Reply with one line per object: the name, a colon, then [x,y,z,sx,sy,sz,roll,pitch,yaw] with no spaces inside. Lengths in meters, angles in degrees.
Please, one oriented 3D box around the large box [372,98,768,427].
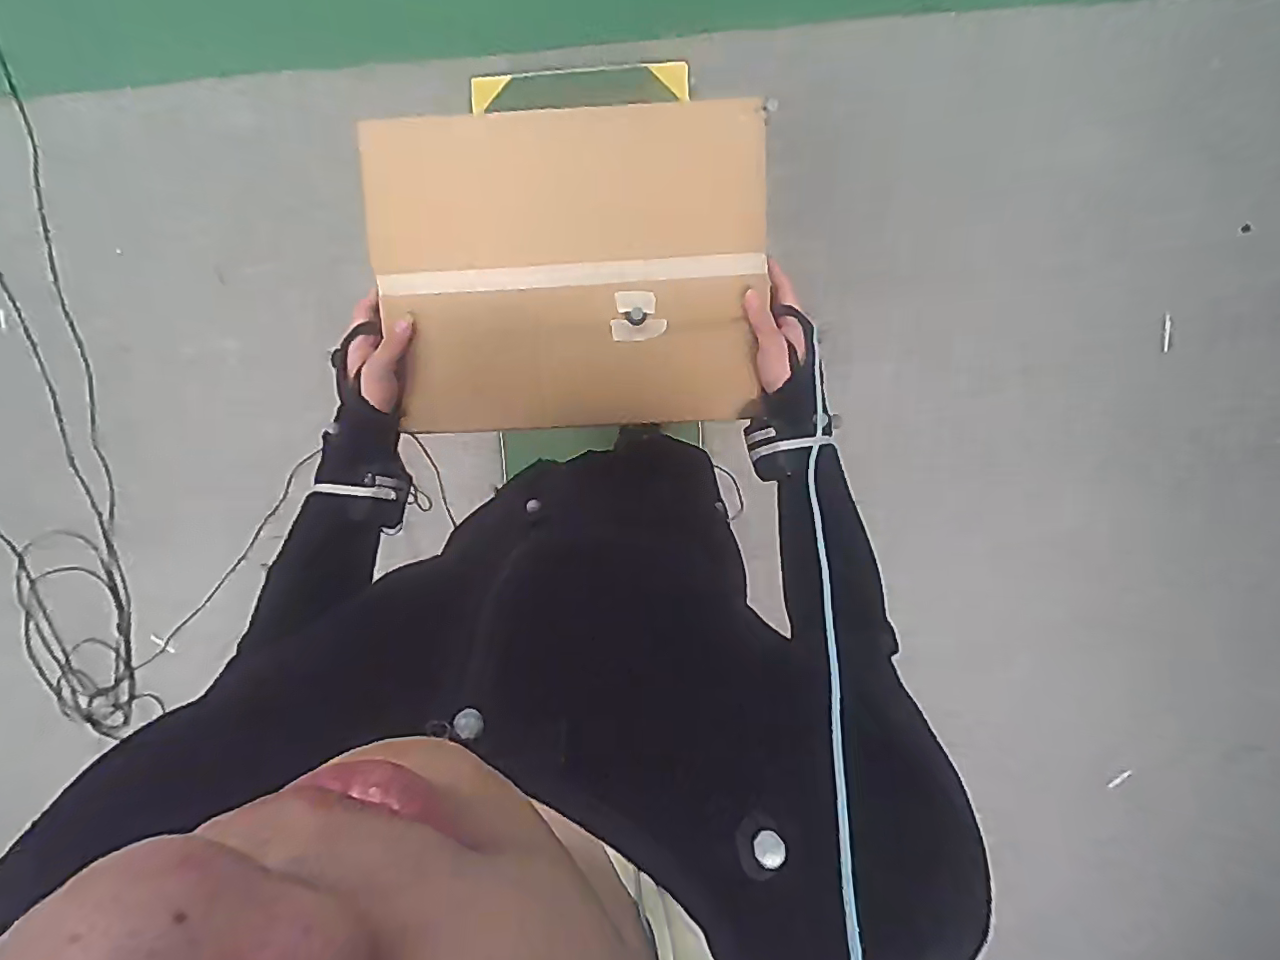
large box: [-0.068,-0.245,0.715,0.408,0.320,0.320,-3,100,0]
